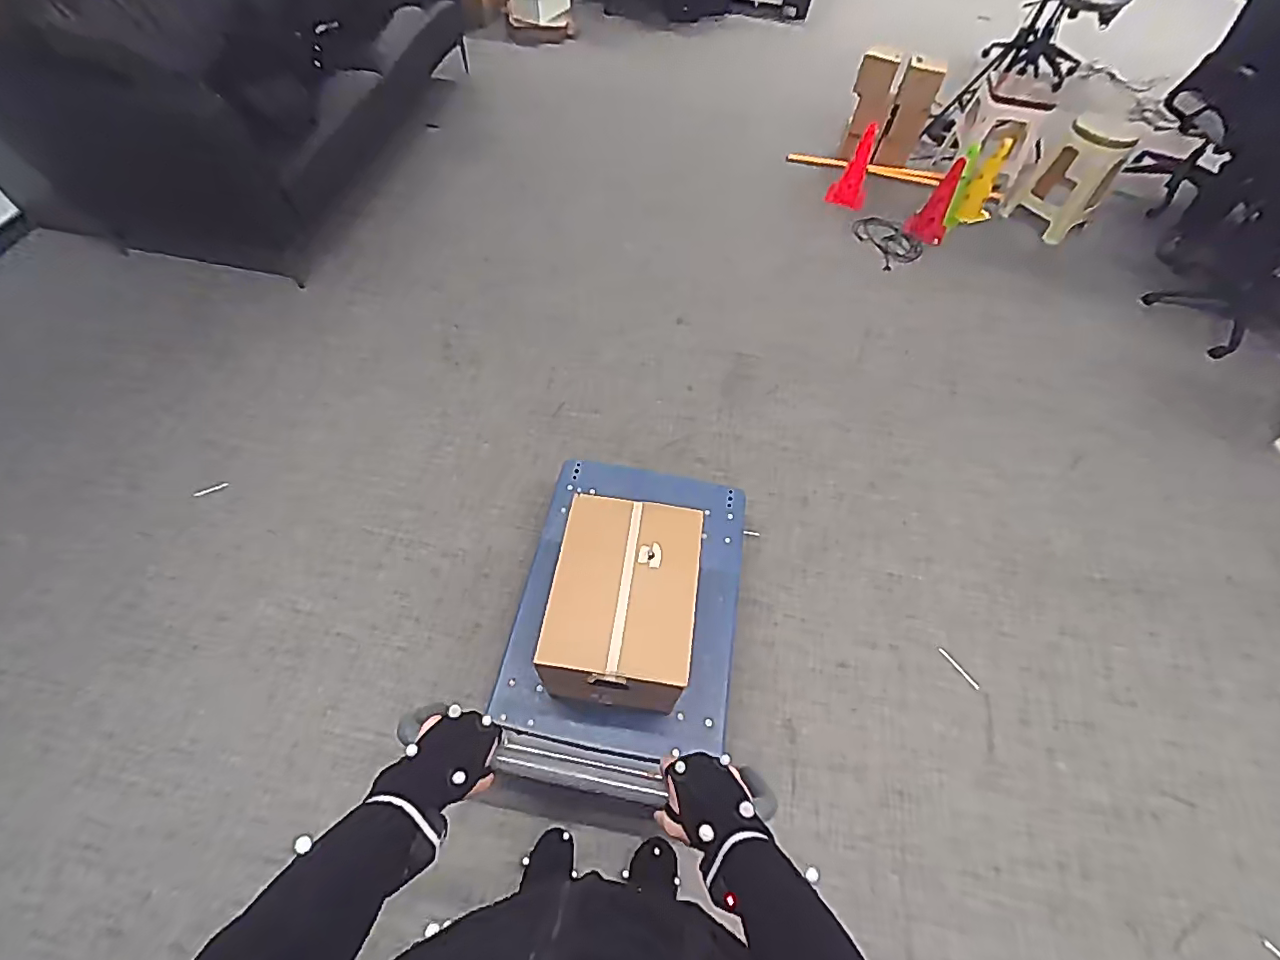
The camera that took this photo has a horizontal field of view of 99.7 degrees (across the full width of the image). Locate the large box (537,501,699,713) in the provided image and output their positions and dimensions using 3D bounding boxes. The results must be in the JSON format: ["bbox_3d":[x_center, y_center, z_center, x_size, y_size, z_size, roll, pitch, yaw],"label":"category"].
[{"bbox_3d":[-0.039,0.312,1.308,0.320,0.320,0.408,8,58,2],"label":"large box"}]
